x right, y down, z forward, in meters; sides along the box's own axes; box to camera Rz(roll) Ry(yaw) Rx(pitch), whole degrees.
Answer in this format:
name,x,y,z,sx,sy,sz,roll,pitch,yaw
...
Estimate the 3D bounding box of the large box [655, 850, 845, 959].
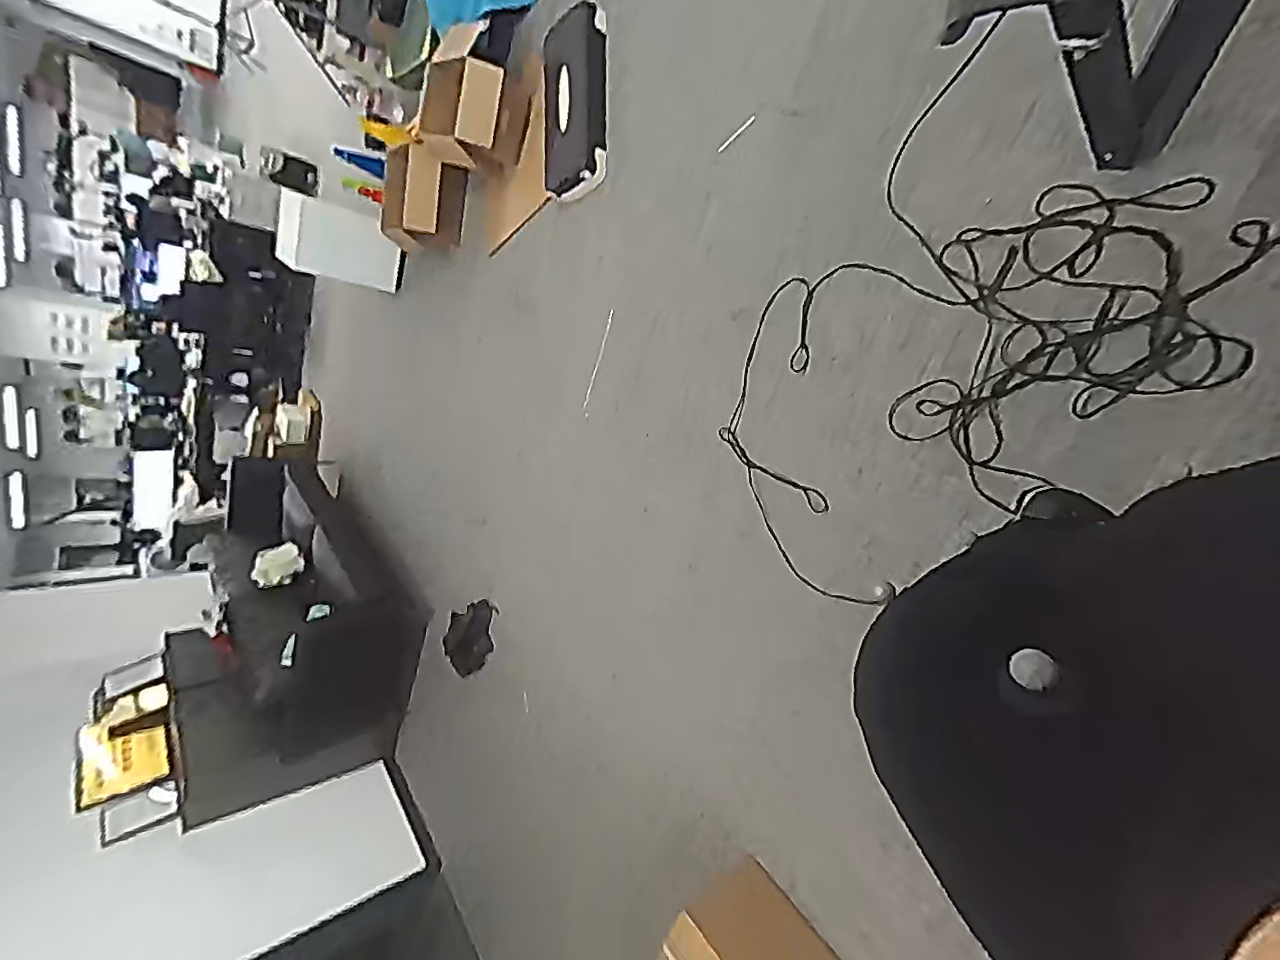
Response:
name,x,y,z,sx,sy,sz,roll,pitch,yaw
large box,0.310,1.349,1.472,0.408,0.320,0.320,37,115,40
